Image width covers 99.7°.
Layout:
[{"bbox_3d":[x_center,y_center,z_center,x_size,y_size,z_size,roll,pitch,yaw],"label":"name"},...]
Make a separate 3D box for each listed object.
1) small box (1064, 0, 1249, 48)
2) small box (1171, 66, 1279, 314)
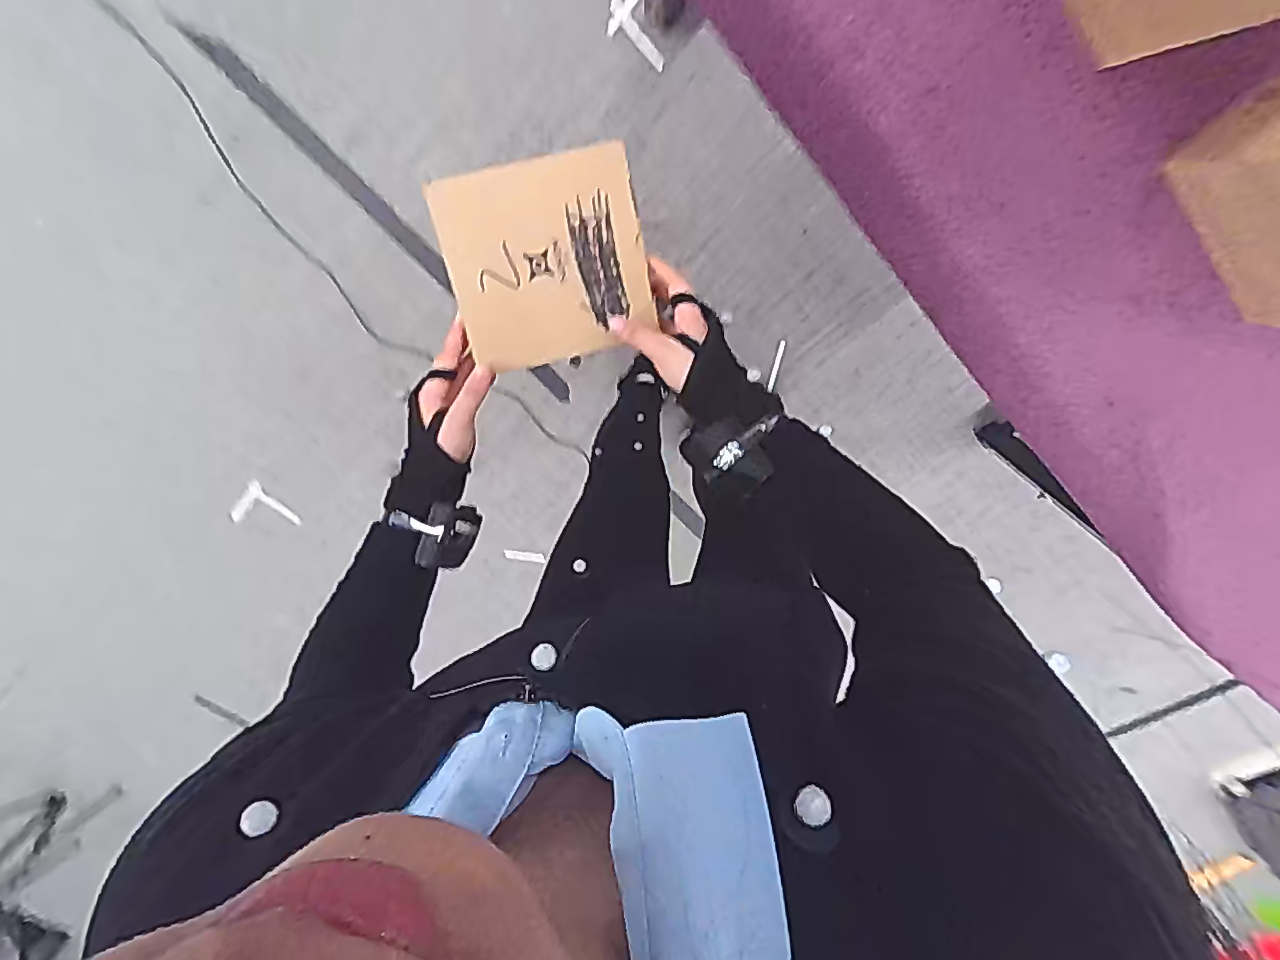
[{"bbox_3d":[0.336,-0.380,0.283,0.179,0.176,0.168,40,113,-17],"label":"small box"},{"bbox_3d":[0.530,-0.213,0.356,0.179,0.176,0.168,42,112,-17],"label":"small box"}]
